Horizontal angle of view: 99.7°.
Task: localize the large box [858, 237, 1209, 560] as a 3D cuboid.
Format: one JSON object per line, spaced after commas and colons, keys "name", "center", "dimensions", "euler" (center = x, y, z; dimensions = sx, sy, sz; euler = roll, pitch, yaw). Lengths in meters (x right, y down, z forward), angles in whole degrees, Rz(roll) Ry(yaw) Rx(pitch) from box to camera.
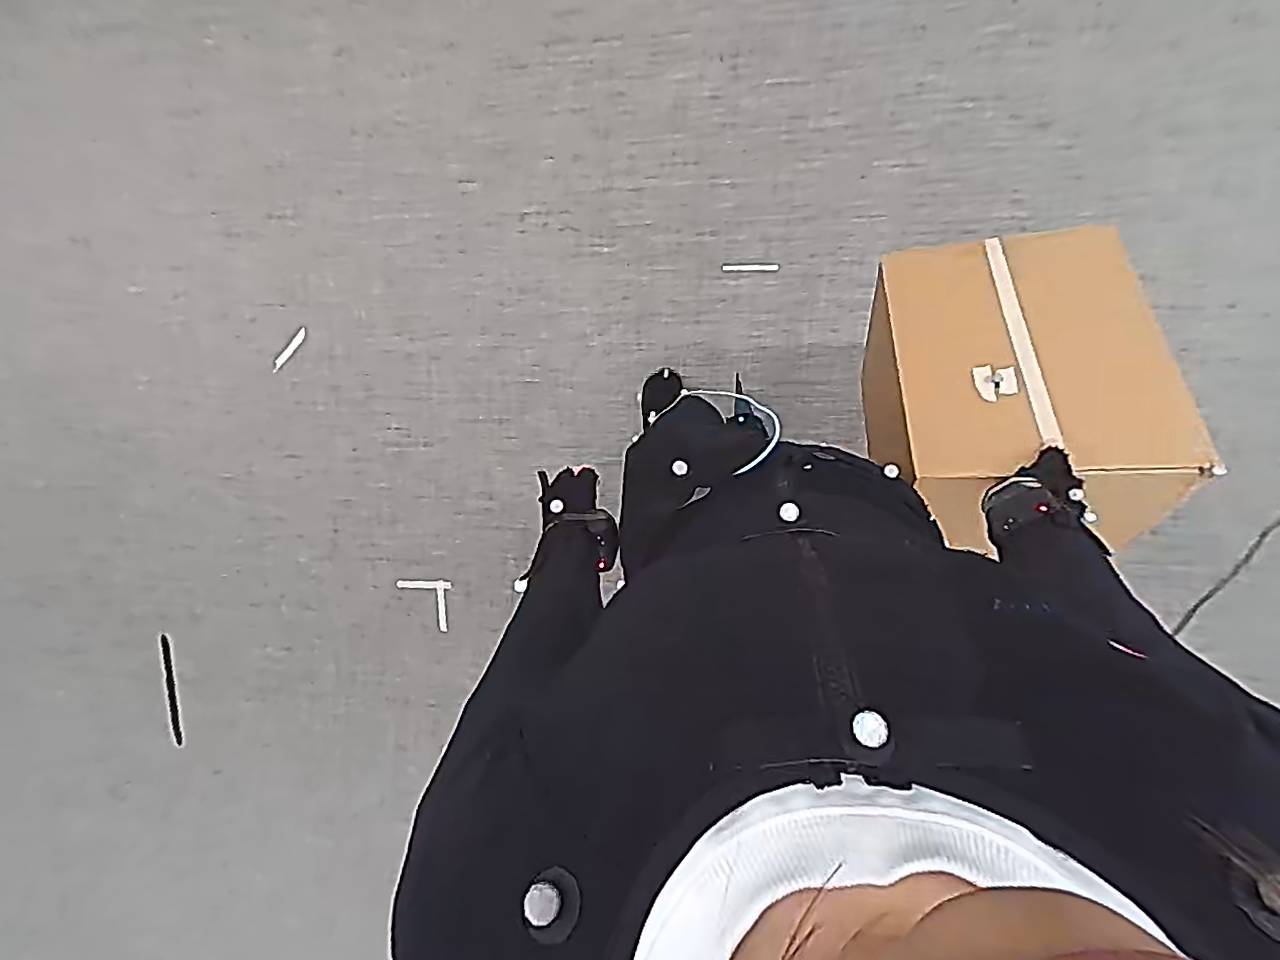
{"name": "large box", "center": [0.549, -0.109, 0.867], "dimensions": [0.320, 0.320, 0.408], "euler": [-3, 62, 15]}
